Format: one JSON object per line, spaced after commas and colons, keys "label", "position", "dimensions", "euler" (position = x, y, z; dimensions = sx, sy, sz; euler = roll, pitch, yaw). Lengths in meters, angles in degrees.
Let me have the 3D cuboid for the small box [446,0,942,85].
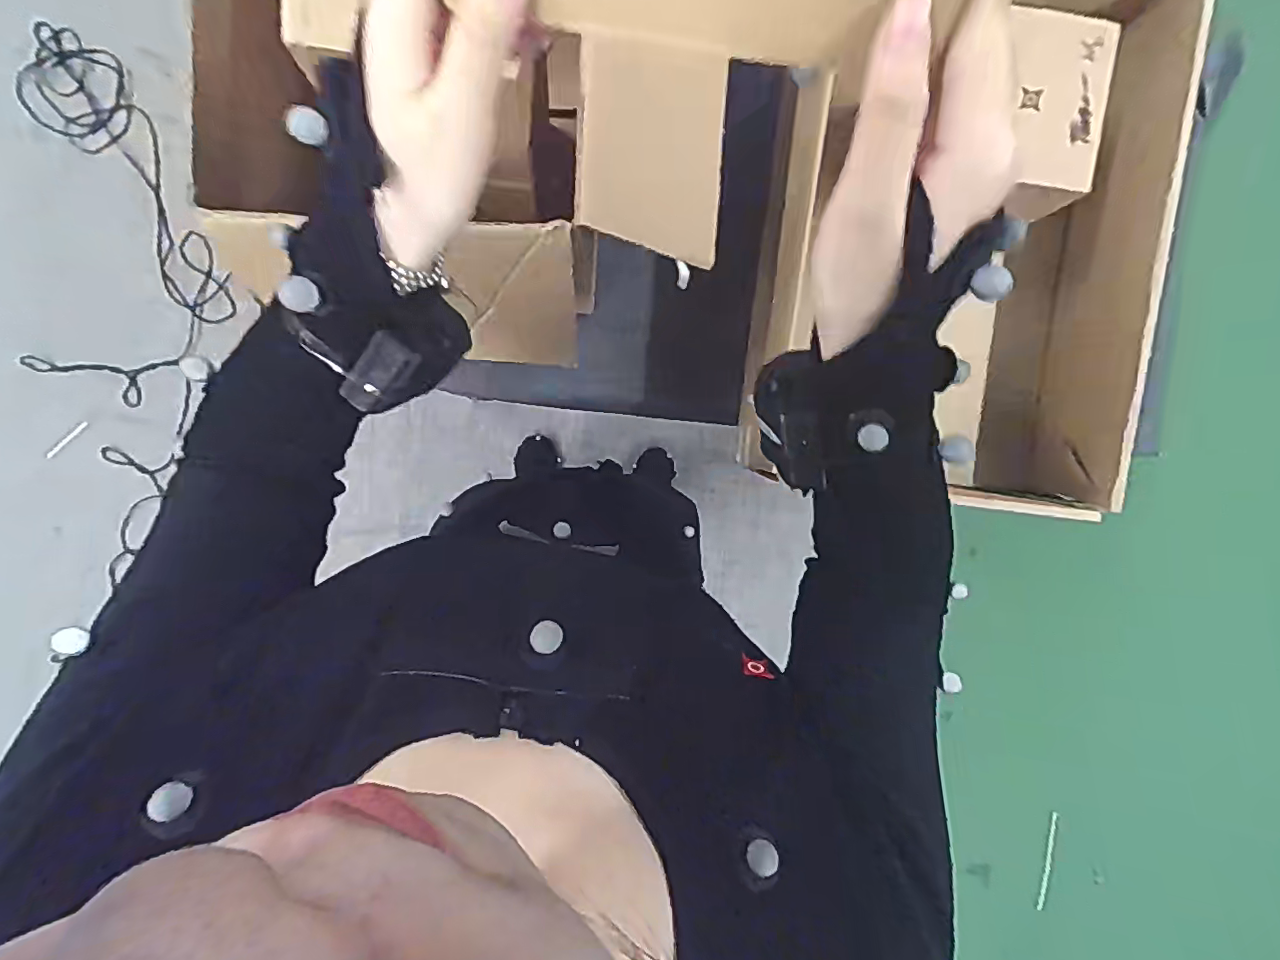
{"label": "small box", "position": [0.032, -0.264, 0.166], "dimensions": [0.179, 0.168, 0.176], "euler": [13, 59, 4]}
